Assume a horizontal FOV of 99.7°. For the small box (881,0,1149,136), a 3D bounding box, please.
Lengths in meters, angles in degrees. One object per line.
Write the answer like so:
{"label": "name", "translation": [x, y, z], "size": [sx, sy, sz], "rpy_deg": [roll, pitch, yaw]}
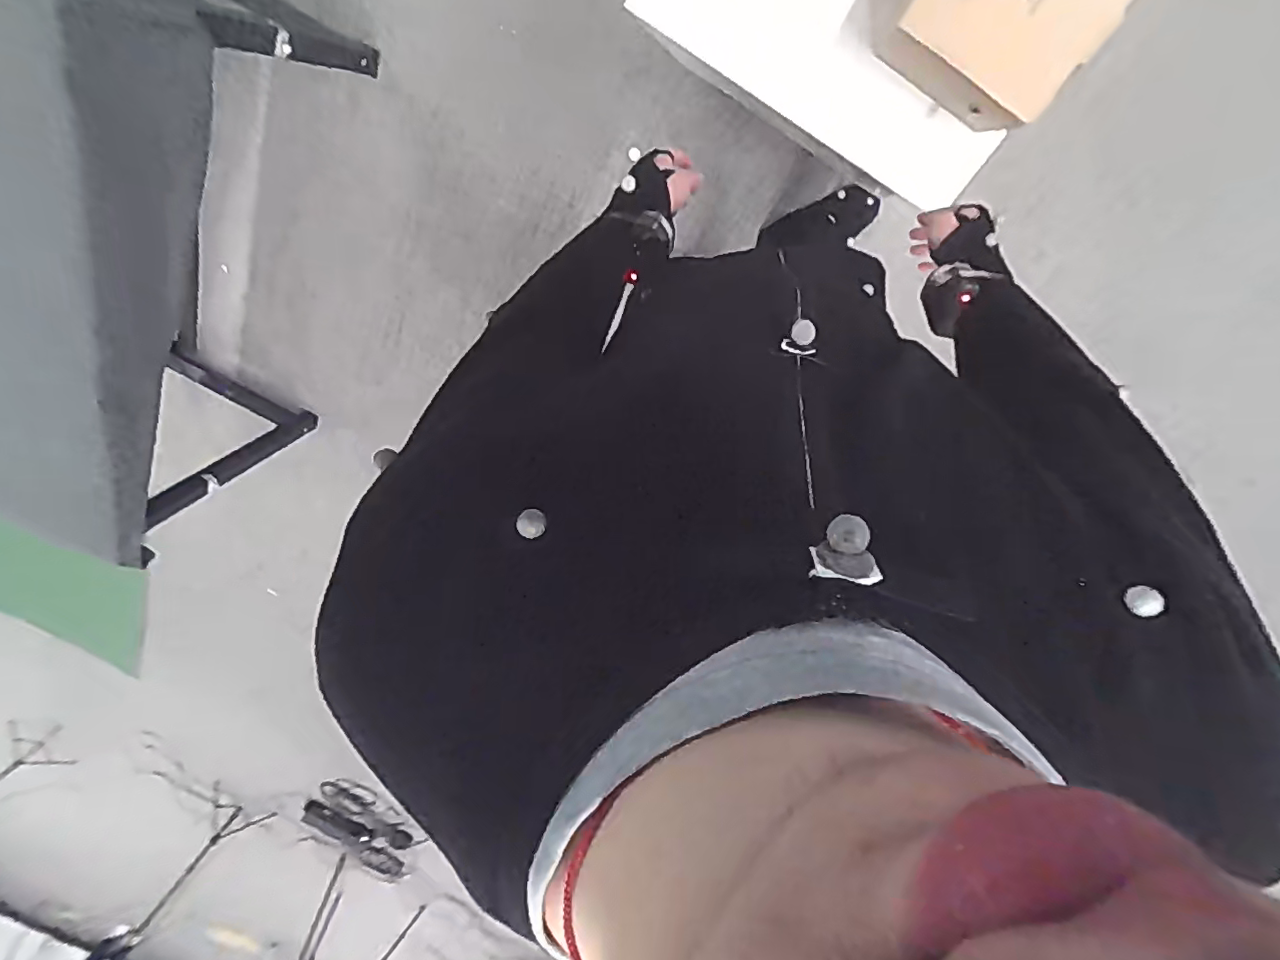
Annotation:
{"label": "small box", "translation": [0.392, -0.499, 0.575], "size": [0.179, 0.176, 0.168], "rpy_deg": [32, 121, -6]}
